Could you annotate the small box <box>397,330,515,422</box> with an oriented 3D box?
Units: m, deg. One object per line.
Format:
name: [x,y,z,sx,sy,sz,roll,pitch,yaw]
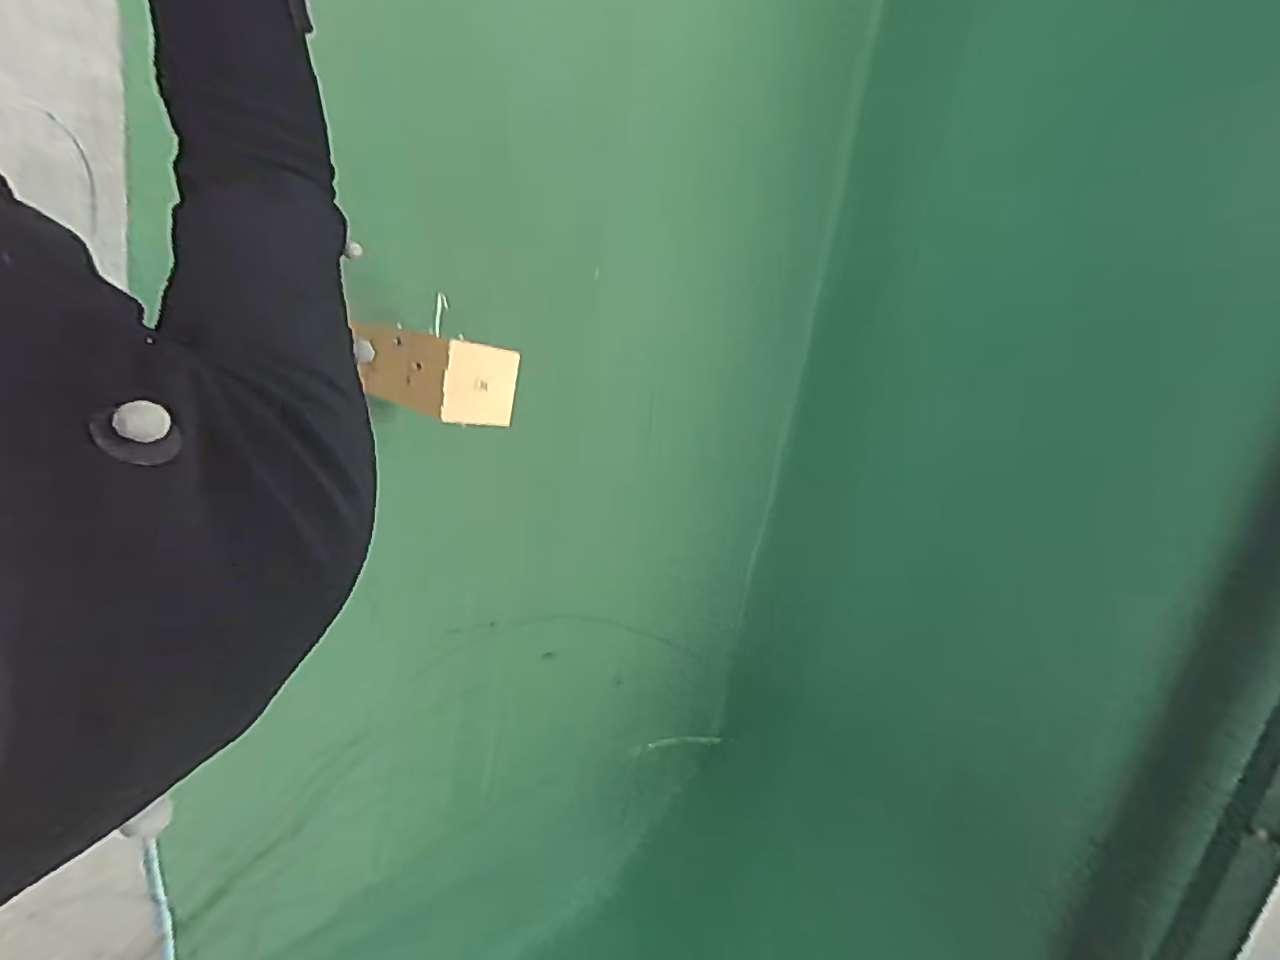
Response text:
small box: [-0.409,-0.231,1.202,0.179,0.176,0.168,-3,109,-52]

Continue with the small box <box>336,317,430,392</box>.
small box: [-0.661,-0.320,1.392,0.179,0.176,0.168,-4,109,-50]
